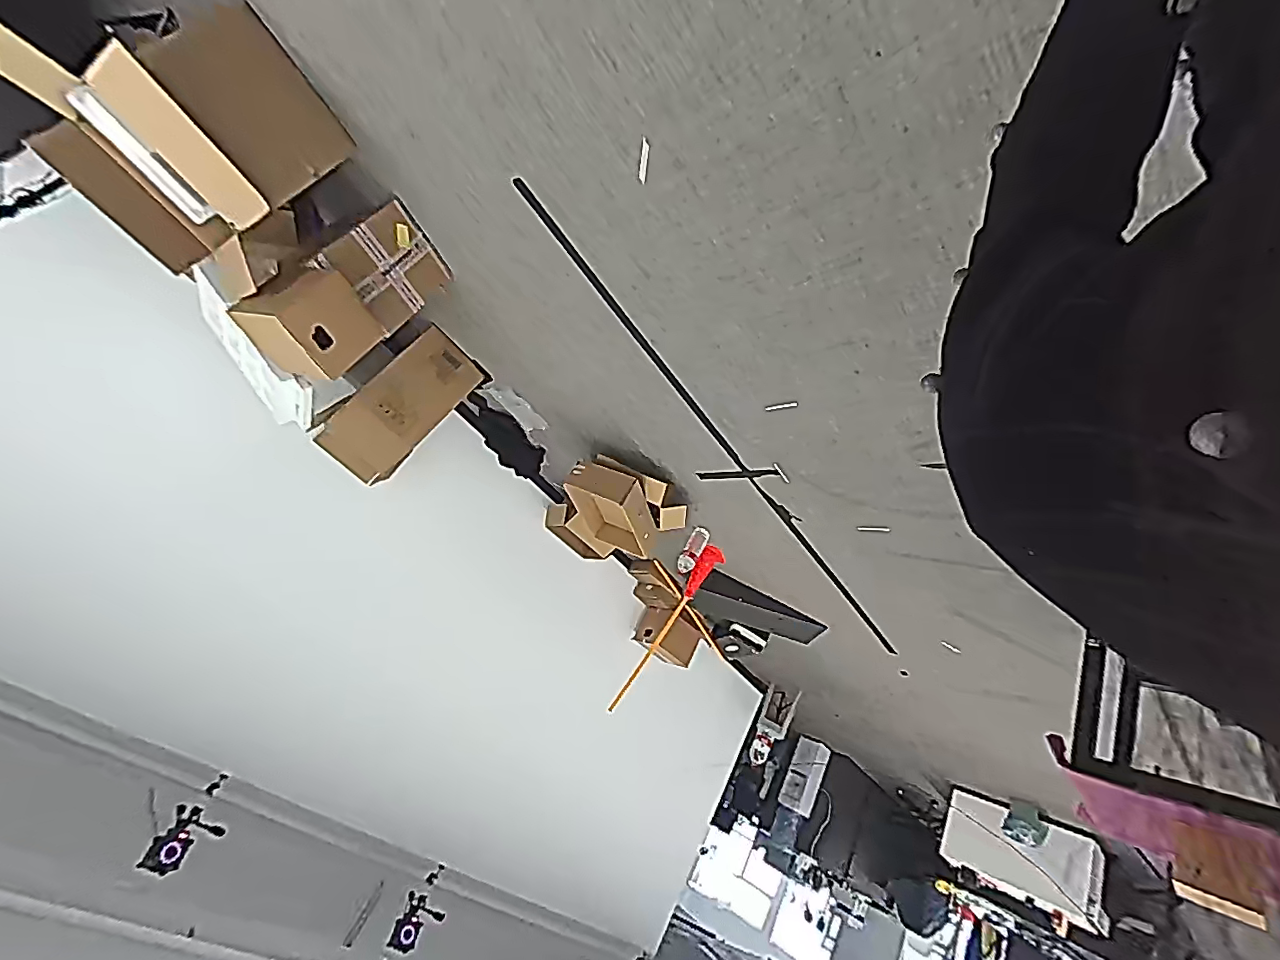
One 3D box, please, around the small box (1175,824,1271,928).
[{"bbox_3d":[1.651,1.108,1.530,0.179,0.176,0.168,-3,139,49],"label":"small box"}]
